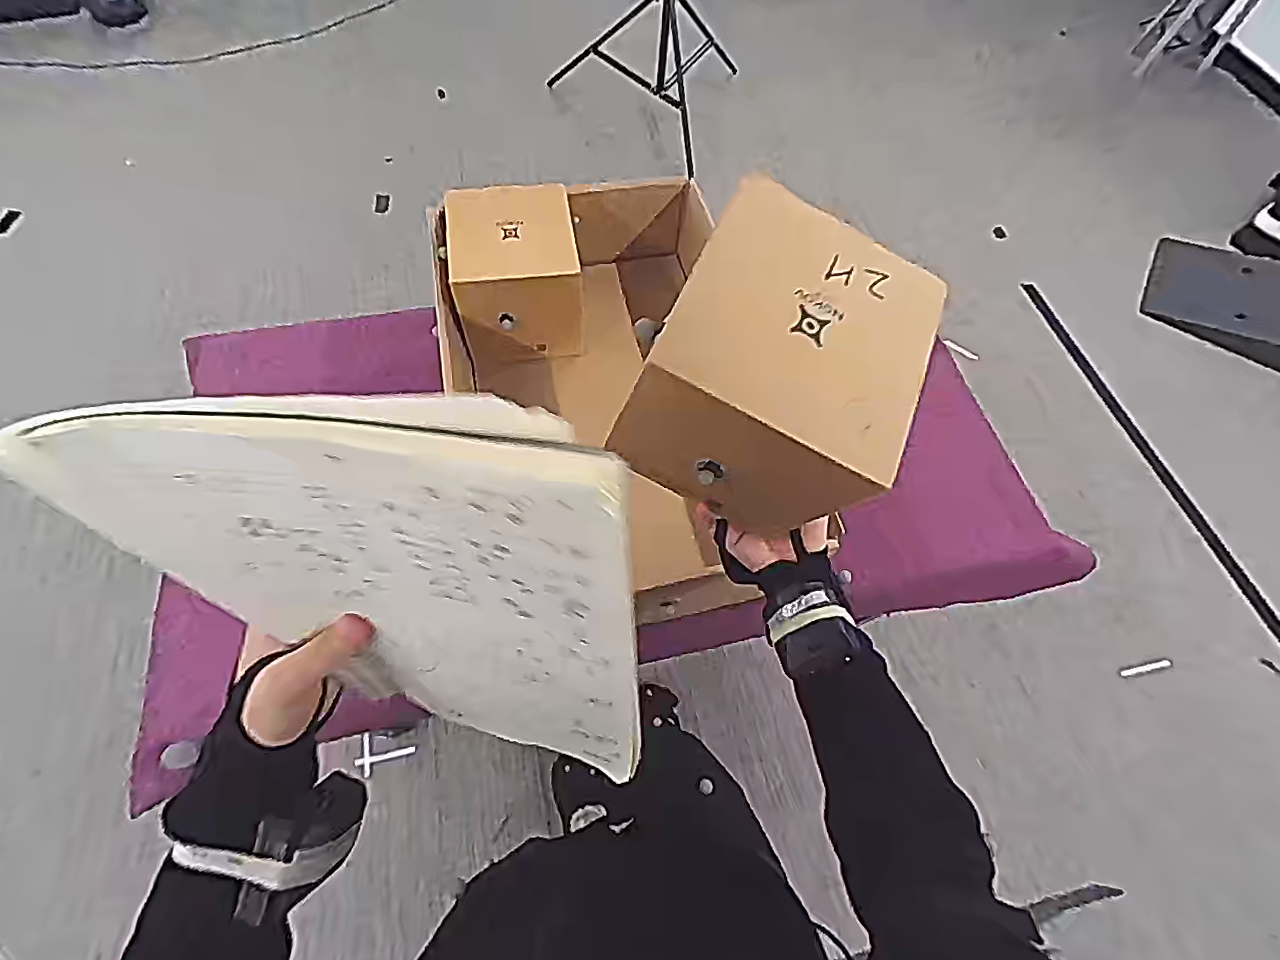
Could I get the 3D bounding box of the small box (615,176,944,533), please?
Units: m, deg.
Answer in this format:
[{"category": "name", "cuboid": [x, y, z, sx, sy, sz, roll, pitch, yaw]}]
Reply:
[{"category": "small box", "cuboid": [0.091, -0.077, 0.420, 0.168, 0.176, 0.179, 27, 69, -5]}]
